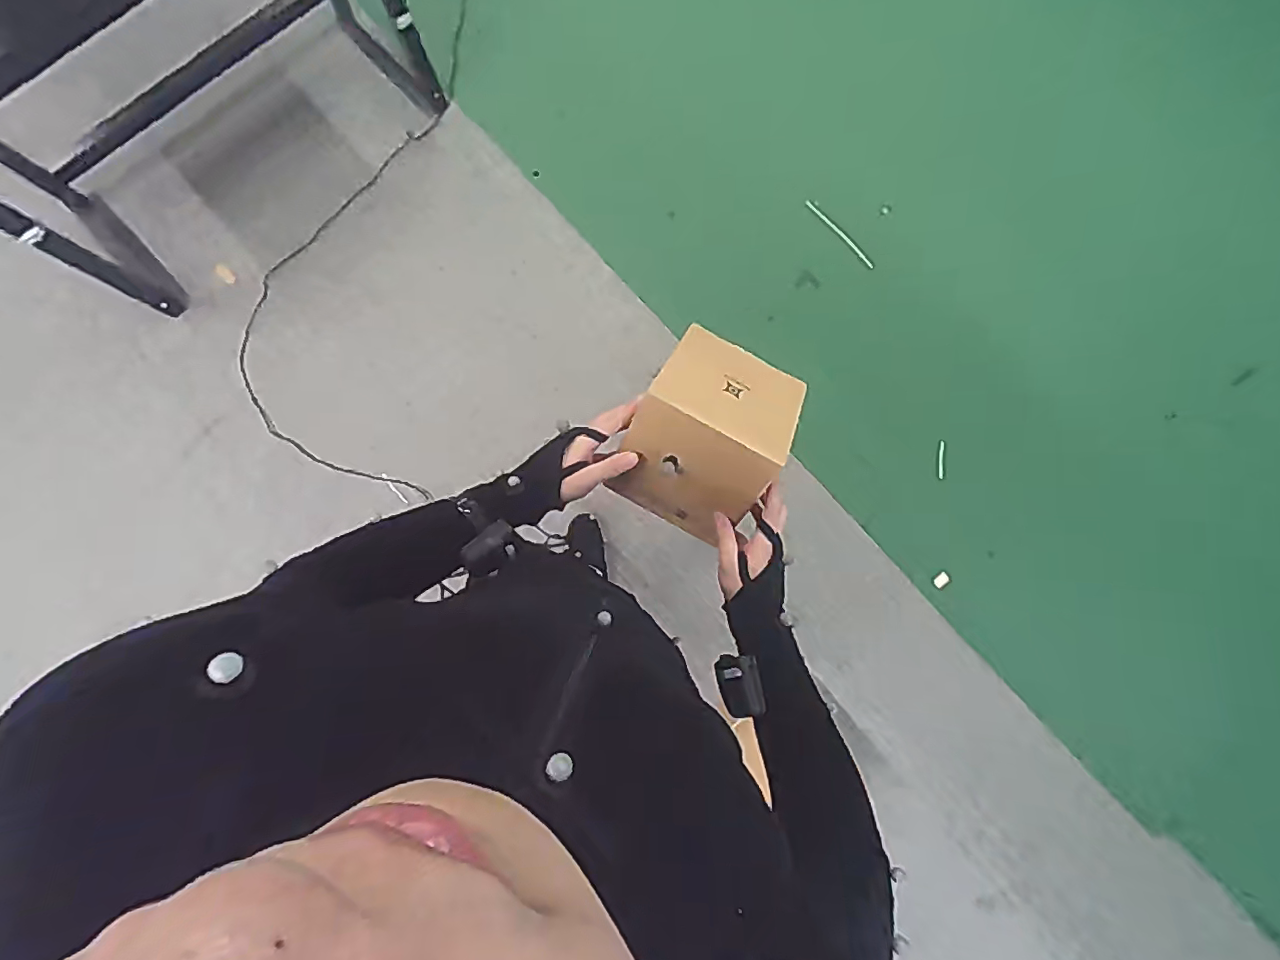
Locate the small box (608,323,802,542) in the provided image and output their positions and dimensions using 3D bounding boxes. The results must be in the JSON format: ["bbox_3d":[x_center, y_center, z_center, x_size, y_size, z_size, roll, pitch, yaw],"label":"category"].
[{"bbox_3d":[0.074,-0.054,0.668,0.168,0.176,0.179,28,45,1],"label":"small box"}]
